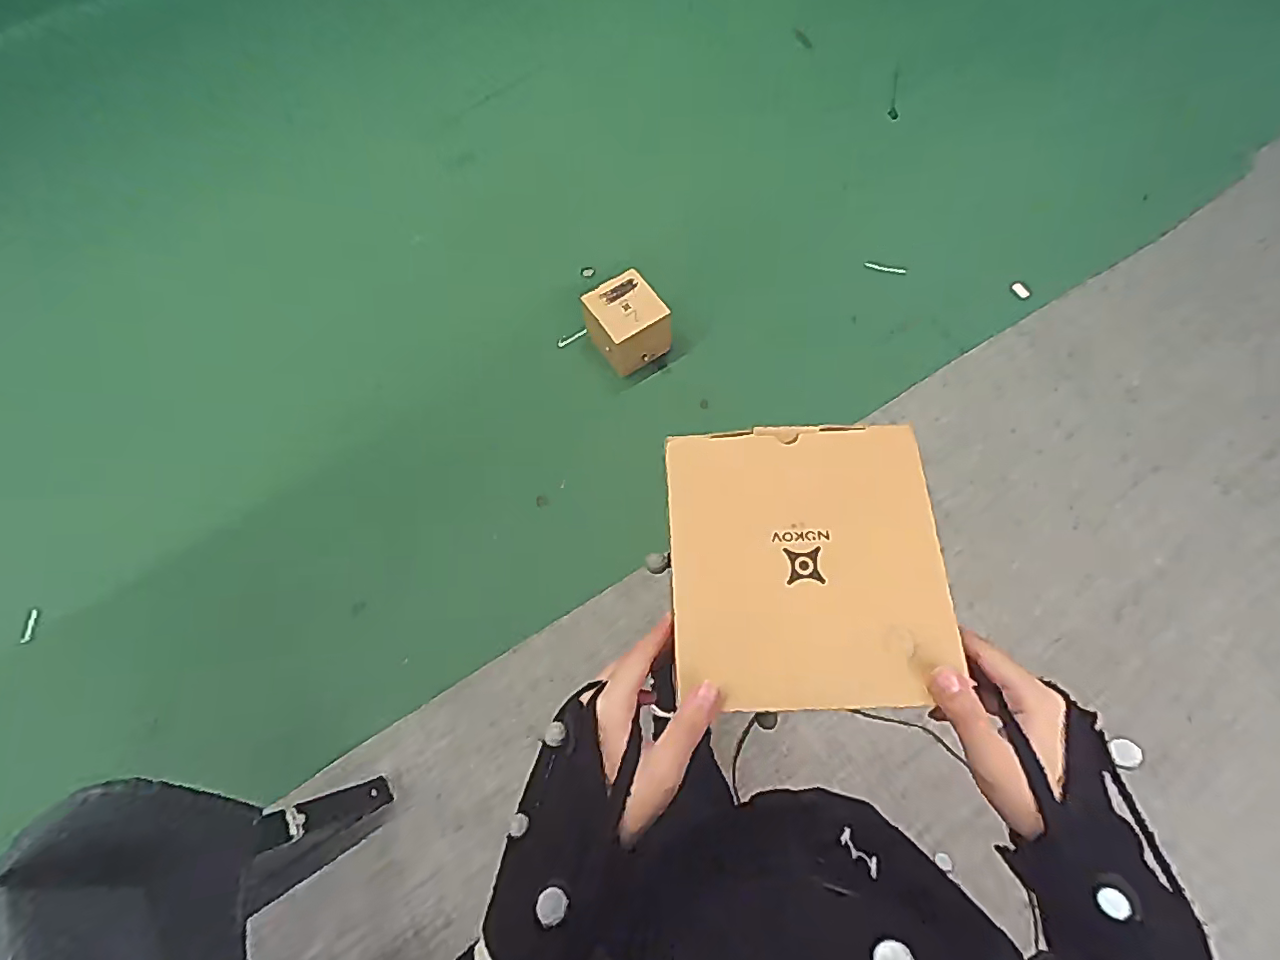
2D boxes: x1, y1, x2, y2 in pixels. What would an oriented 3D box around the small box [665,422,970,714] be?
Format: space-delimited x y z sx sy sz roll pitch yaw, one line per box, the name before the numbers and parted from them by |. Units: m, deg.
small box | 0.106 0.074 0.407 0.168 0.176 0.179 -3 69 3
